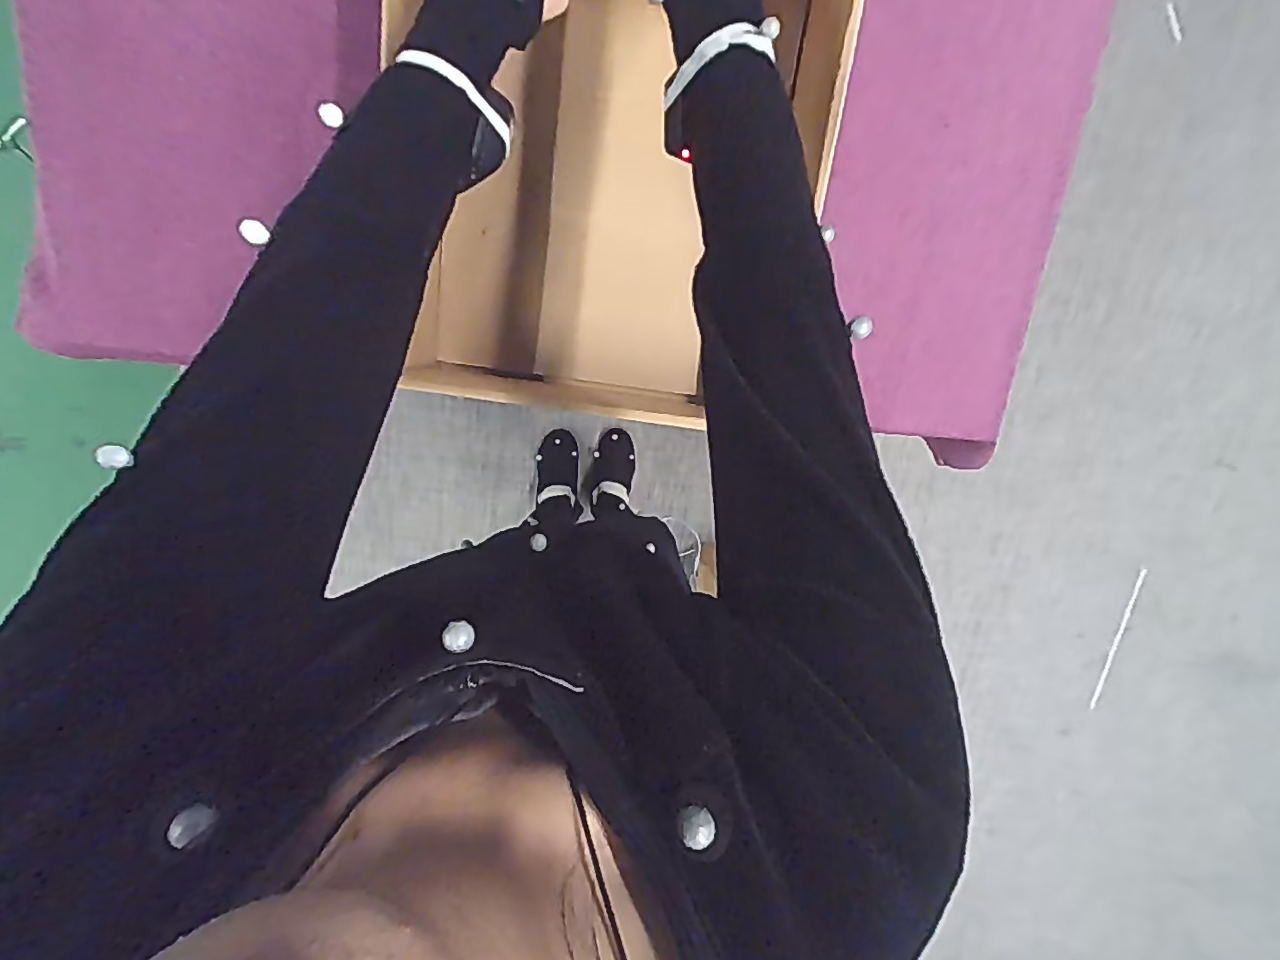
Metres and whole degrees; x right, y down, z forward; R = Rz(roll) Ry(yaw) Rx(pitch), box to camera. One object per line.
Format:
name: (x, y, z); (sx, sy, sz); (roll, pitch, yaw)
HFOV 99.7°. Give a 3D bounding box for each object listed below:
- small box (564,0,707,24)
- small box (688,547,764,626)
small box: (0.000, -0.553, 0.468); (0.168, 0.176, 0.179); (7, 104, -3)
small box: (0.231, 0.292, 1.500); (0.179, 0.176, 0.168); (0, 104, -4)
